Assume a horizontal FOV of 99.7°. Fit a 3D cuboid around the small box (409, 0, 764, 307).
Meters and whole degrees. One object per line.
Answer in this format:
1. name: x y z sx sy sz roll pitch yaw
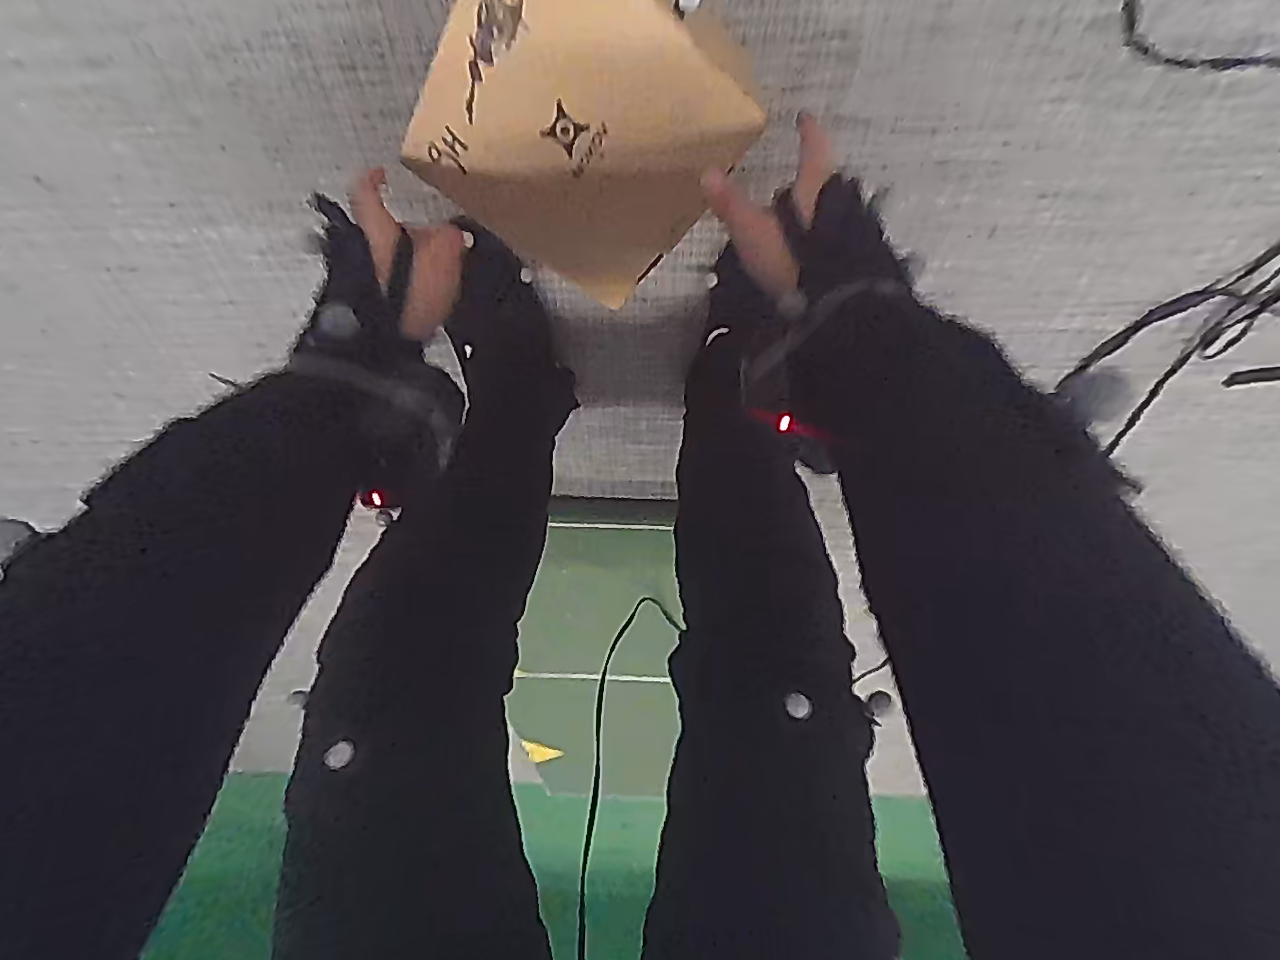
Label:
1. small box: -0.033 -0.274 0.400 0.179 0.176 0.168 28 132 -25
